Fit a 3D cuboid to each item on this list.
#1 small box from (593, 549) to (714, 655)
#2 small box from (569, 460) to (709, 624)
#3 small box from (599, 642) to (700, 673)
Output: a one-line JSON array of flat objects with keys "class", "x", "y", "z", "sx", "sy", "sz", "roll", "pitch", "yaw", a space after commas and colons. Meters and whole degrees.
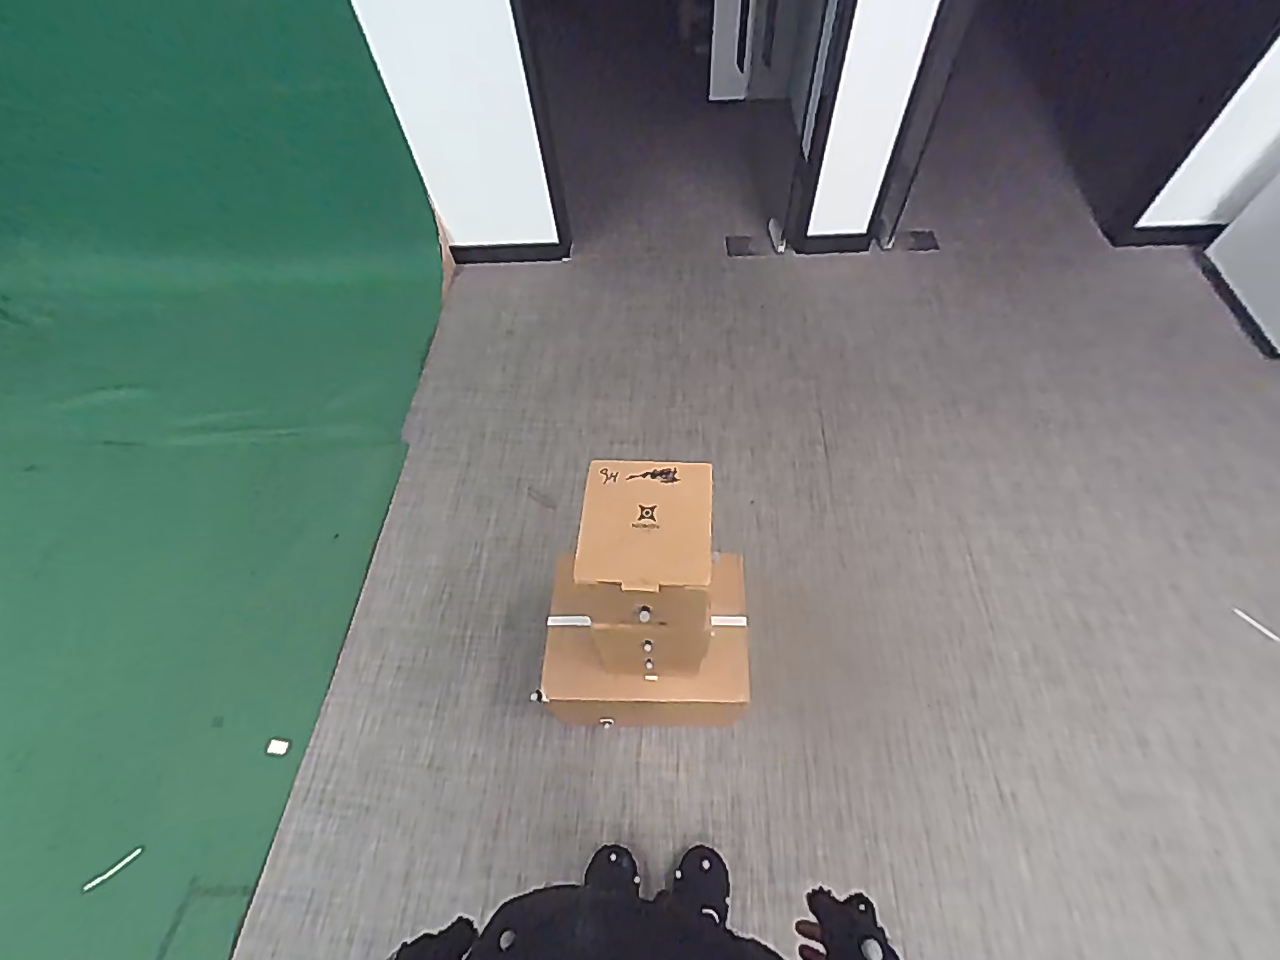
[{"class": "small box", "x": 0.021, "y": 0.184, "z": 0.882, "sx": 0.179, "sy": 0.176, "sz": 0.168, "roll": -2, "pitch": 59, "yaw": 2}, {"class": "small box", "x": 0.010, "y": 0.091, "z": 0.747, "sx": 0.168, "sy": 0.176, "sz": 0.179, "roll": 2, "pitch": 60, "yaw": 6}, {"class": "small box", "x": 0.024, "y": 0.263, "z": 1.026, "sx": 0.179, "sy": 0.176, "sz": 0.168, "roll": 1, "pitch": 60, "yaw": 4}]
